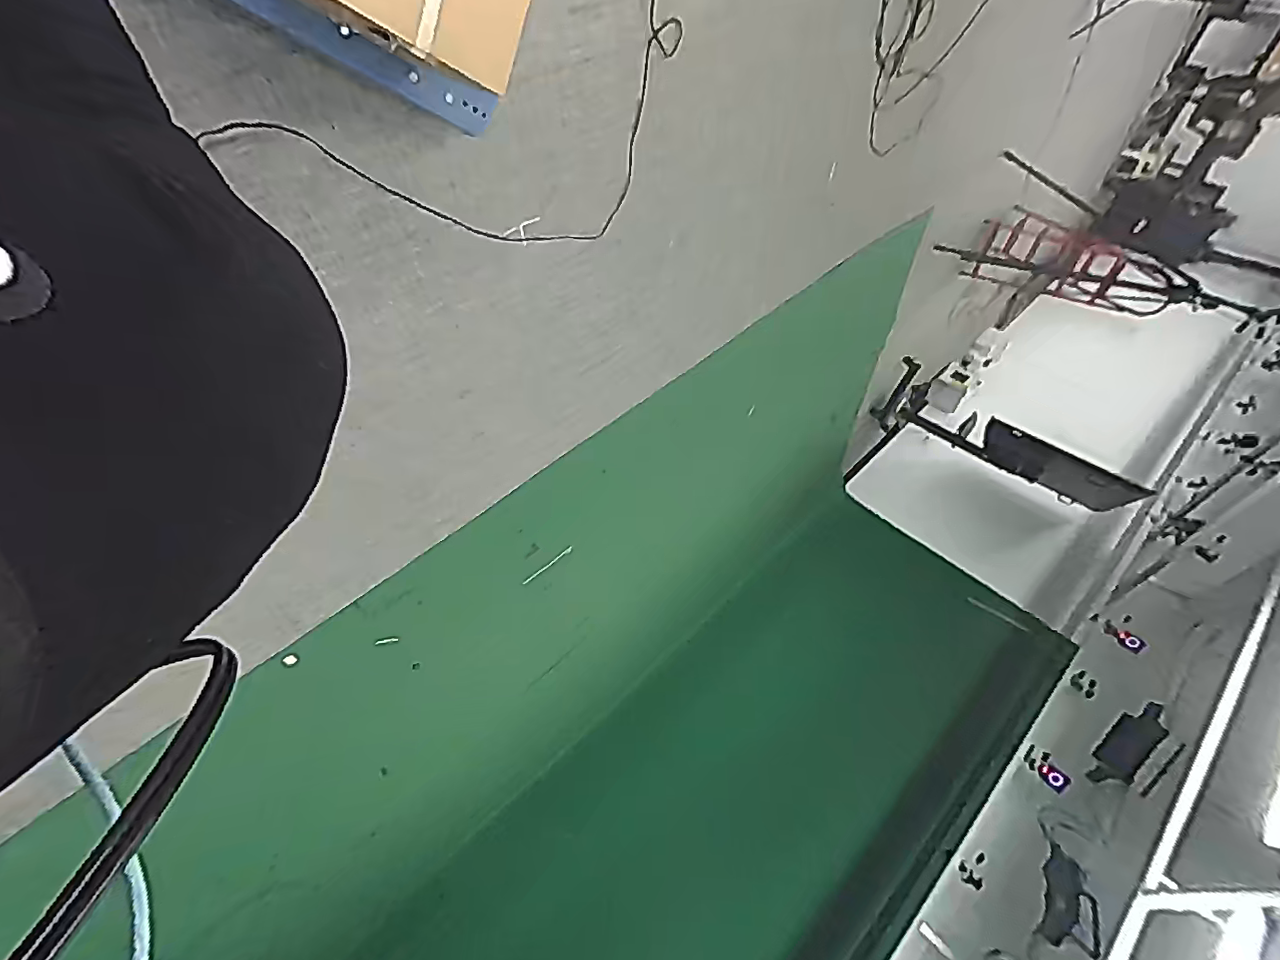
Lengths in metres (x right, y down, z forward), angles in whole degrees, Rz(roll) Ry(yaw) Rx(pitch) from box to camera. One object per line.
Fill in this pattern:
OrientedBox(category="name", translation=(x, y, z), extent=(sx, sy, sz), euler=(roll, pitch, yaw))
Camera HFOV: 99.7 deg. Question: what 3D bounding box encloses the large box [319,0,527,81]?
OrientedBox(category="large box", translation=(-0.350, -0.908, 0.802), extent=(0.320, 0.320, 0.408), euler=(-6, 127, -51))
